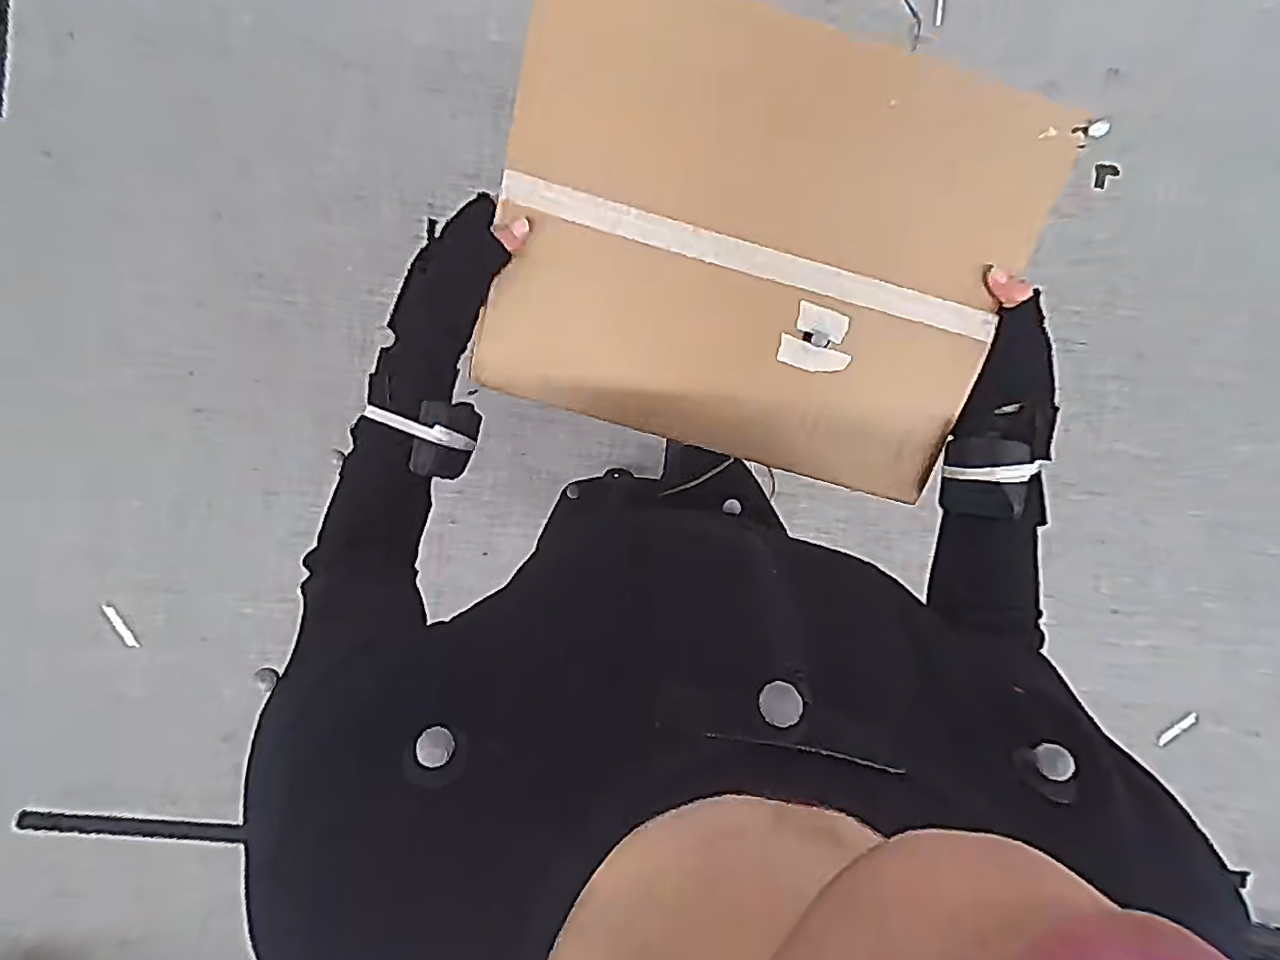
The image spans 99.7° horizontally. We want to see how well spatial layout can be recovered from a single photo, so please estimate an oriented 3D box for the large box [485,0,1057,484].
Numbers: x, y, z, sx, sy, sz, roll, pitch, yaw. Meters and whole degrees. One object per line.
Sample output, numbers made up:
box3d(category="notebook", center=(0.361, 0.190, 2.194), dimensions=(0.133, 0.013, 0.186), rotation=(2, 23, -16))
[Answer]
box3d(category="large box", center=(0.090, -0.226, 0.583), dimensions=(0.408, 0.320, 0.320), rotation=(14, 108, -5))
